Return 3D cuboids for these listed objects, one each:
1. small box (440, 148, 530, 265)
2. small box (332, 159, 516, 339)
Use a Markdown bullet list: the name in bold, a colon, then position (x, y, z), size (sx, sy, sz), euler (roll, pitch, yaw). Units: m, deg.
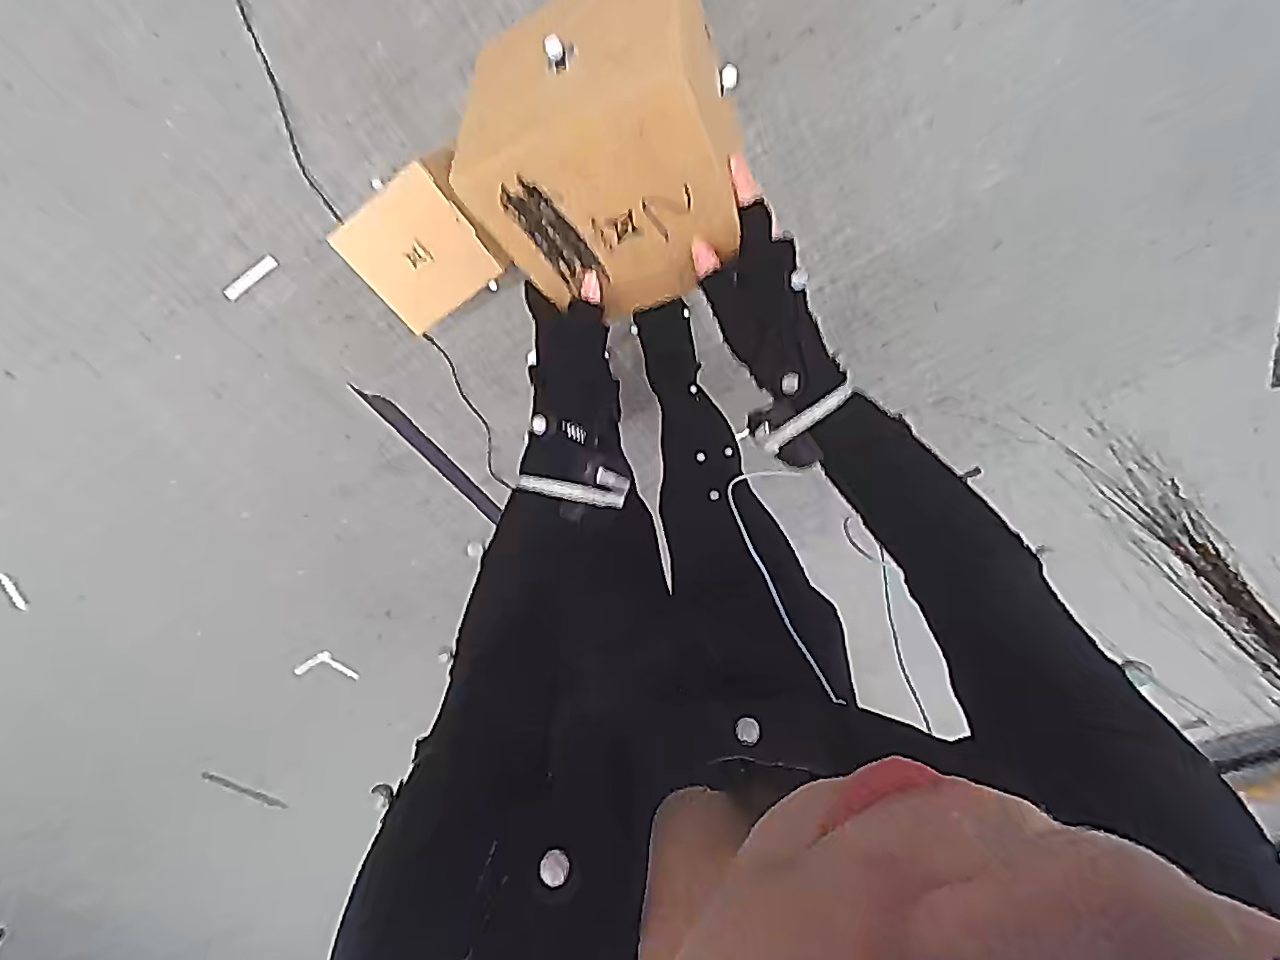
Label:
- **small box**: position (-0.312, -0.452, 0.946), size (0.168, 0.176, 0.179), euler (-26, 124, 15)
- **small box**: position (-0.311, -0.352, 0.818), size (0.179, 0.176, 0.168), euler (-30, 122, 17)
